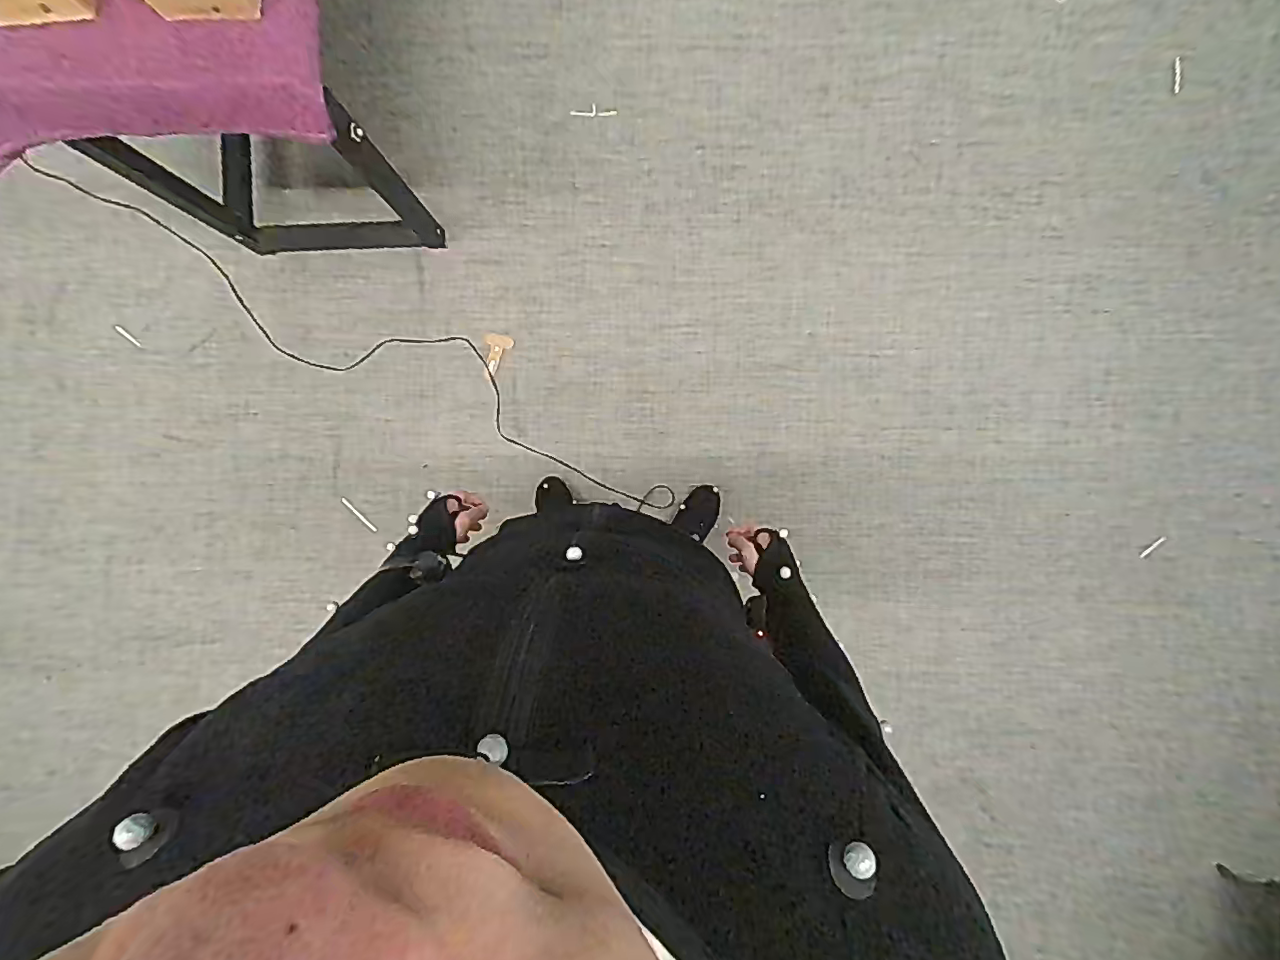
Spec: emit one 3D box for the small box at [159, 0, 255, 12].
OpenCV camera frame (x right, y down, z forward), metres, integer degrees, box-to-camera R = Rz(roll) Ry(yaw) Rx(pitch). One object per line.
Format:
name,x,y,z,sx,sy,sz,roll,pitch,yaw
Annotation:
small box,-0.708,-0.851,0.809,0.168,0.176,0.179,1,91,1

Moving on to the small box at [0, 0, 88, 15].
small box,-0.992,-0.848,0.815,0.168,0.176,0.179,-4,90,0
